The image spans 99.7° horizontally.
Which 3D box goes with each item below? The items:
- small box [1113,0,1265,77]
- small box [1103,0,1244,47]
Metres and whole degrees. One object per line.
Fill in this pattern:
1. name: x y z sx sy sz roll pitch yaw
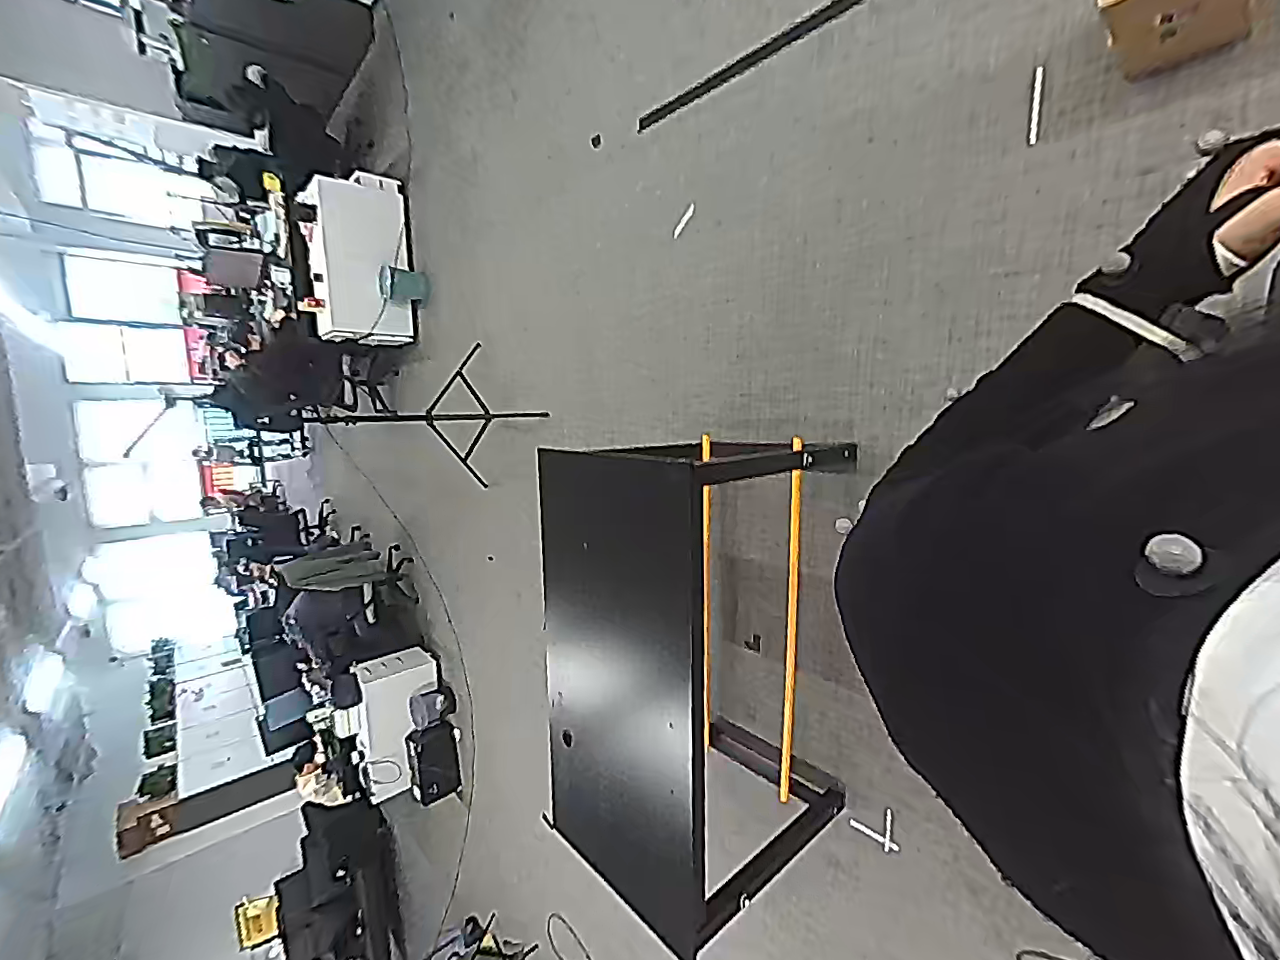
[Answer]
1. small box: 0.974 -0.862 0.956 0.179 0.176 0.168 6 101 49
2. small box: 0.853 -0.843 0.849 0.168 0.176 0.179 3 100 51
